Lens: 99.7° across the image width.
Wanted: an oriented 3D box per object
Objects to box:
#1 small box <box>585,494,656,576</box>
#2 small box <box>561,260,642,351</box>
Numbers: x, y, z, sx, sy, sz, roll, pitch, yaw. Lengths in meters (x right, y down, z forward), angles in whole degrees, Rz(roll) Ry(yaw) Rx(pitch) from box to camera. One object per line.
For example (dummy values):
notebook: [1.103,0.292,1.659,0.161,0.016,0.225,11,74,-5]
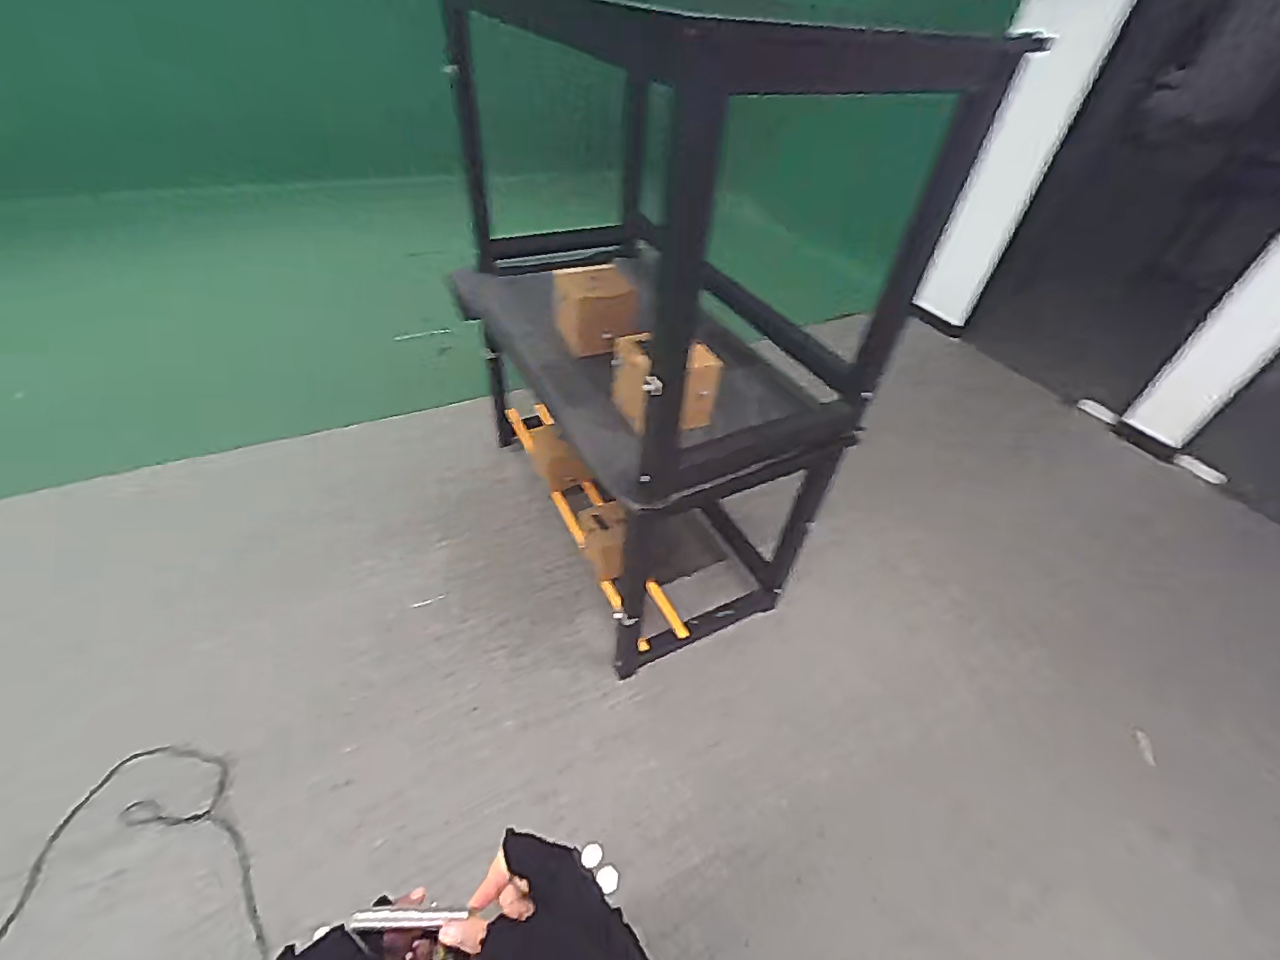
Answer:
small box: [-0.063,0.175,1.689,0.179,0.176,0.168,-15,48,-19]
small box: [-0.108,-0.469,1.451,0.168,0.176,0.179,-15,47,-20]
